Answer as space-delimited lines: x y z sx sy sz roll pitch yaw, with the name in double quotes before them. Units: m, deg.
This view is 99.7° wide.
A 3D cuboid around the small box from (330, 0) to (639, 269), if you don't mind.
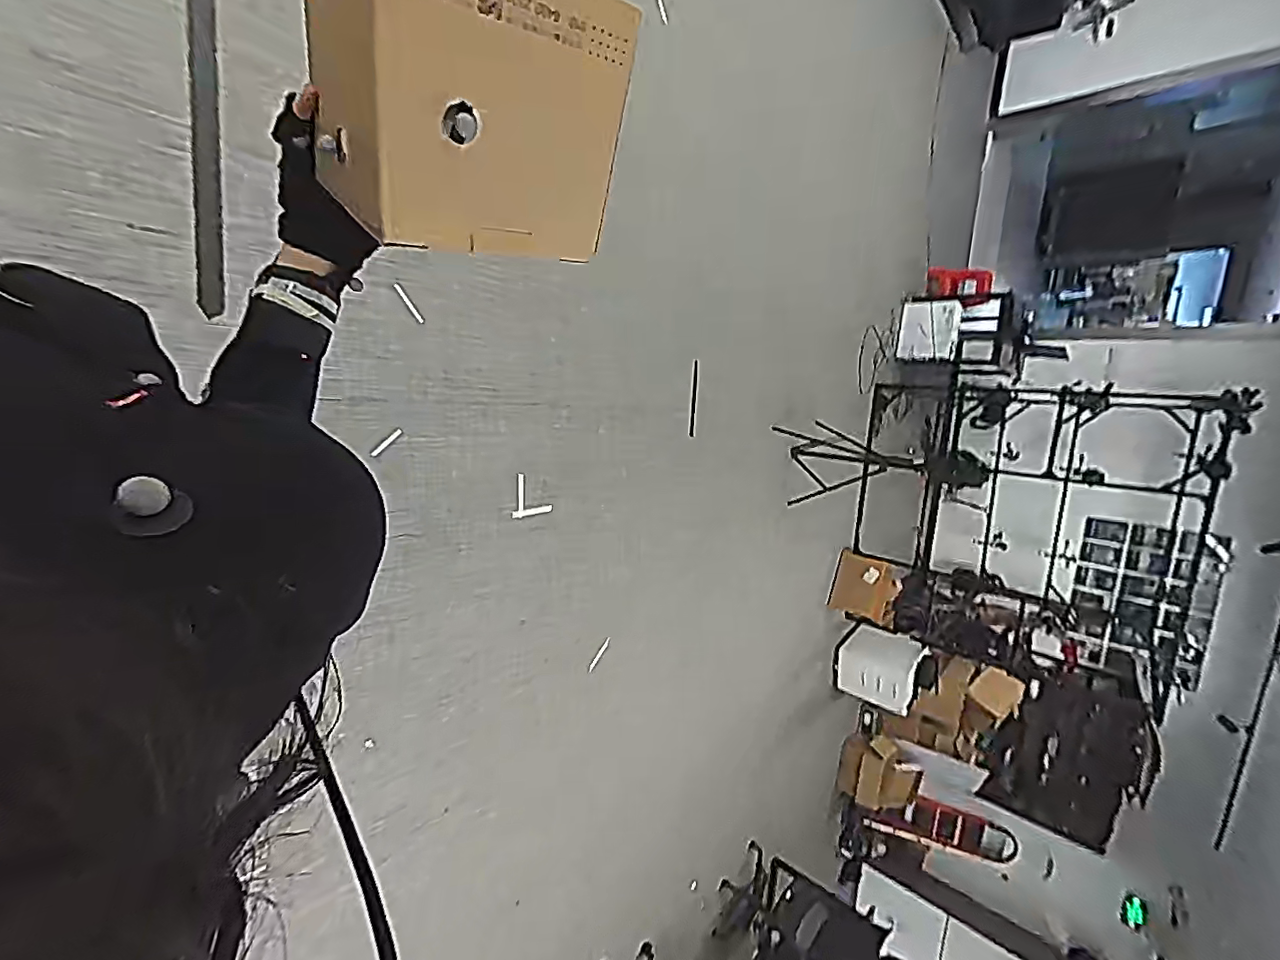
"small box" -0.119 -0.274 0.398 0.168 0.179 0.176 -11 133 -39
